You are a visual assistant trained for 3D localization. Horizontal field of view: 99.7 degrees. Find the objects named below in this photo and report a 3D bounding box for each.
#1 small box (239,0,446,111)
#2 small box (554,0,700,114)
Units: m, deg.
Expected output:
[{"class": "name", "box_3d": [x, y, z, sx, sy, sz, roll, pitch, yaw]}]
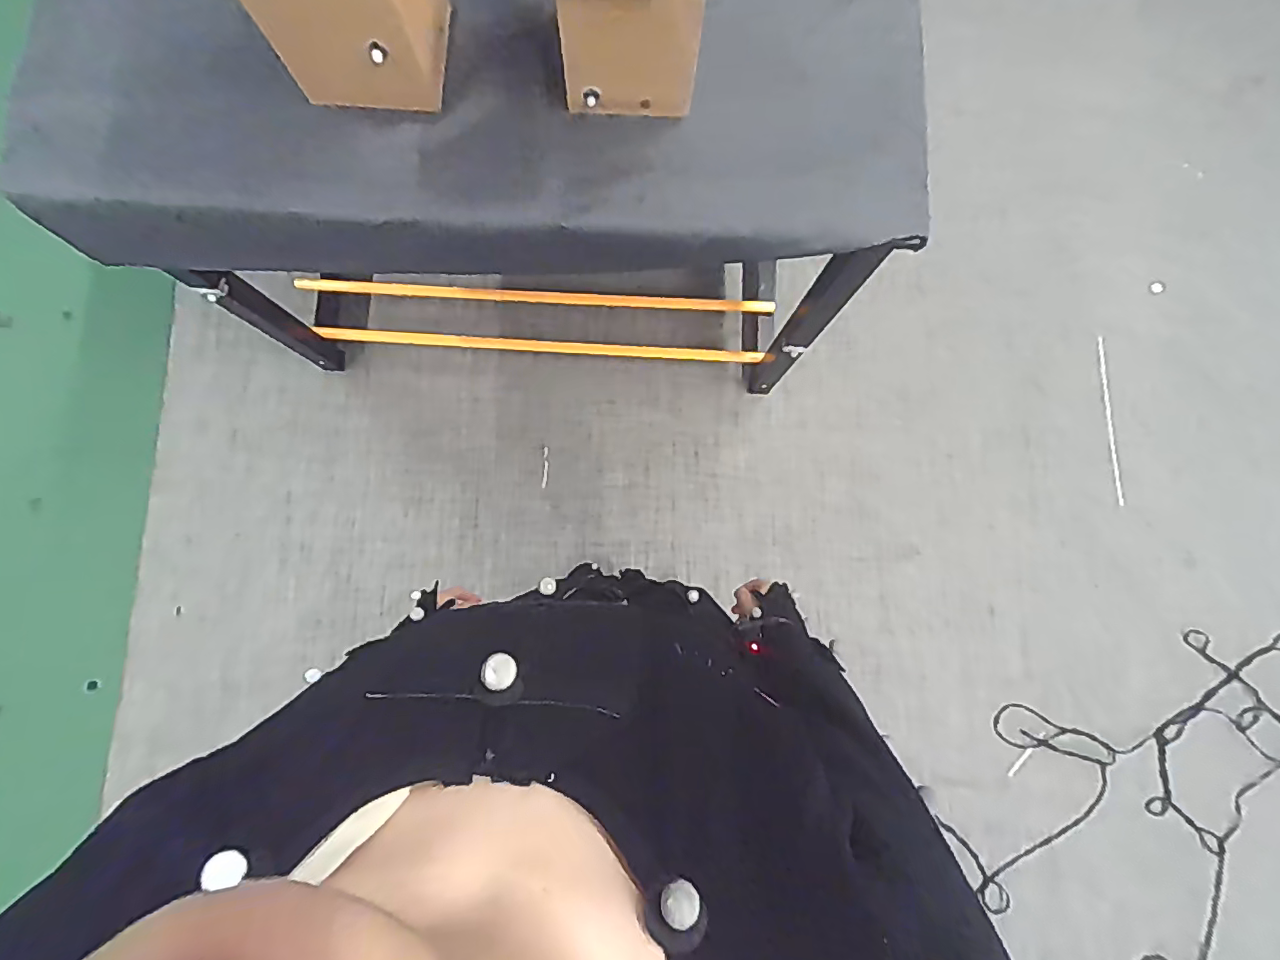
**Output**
[{"class": "small box", "box_3d": [-0.351, -0.590, 0.660, 0.179, 0.176, 0.168, 2, 80, -1]}, {"class": "small box", "box_3d": [-0.014, -0.595, 0.672, 0.168, 0.176, 0.179, 1, 81, -2]}]
